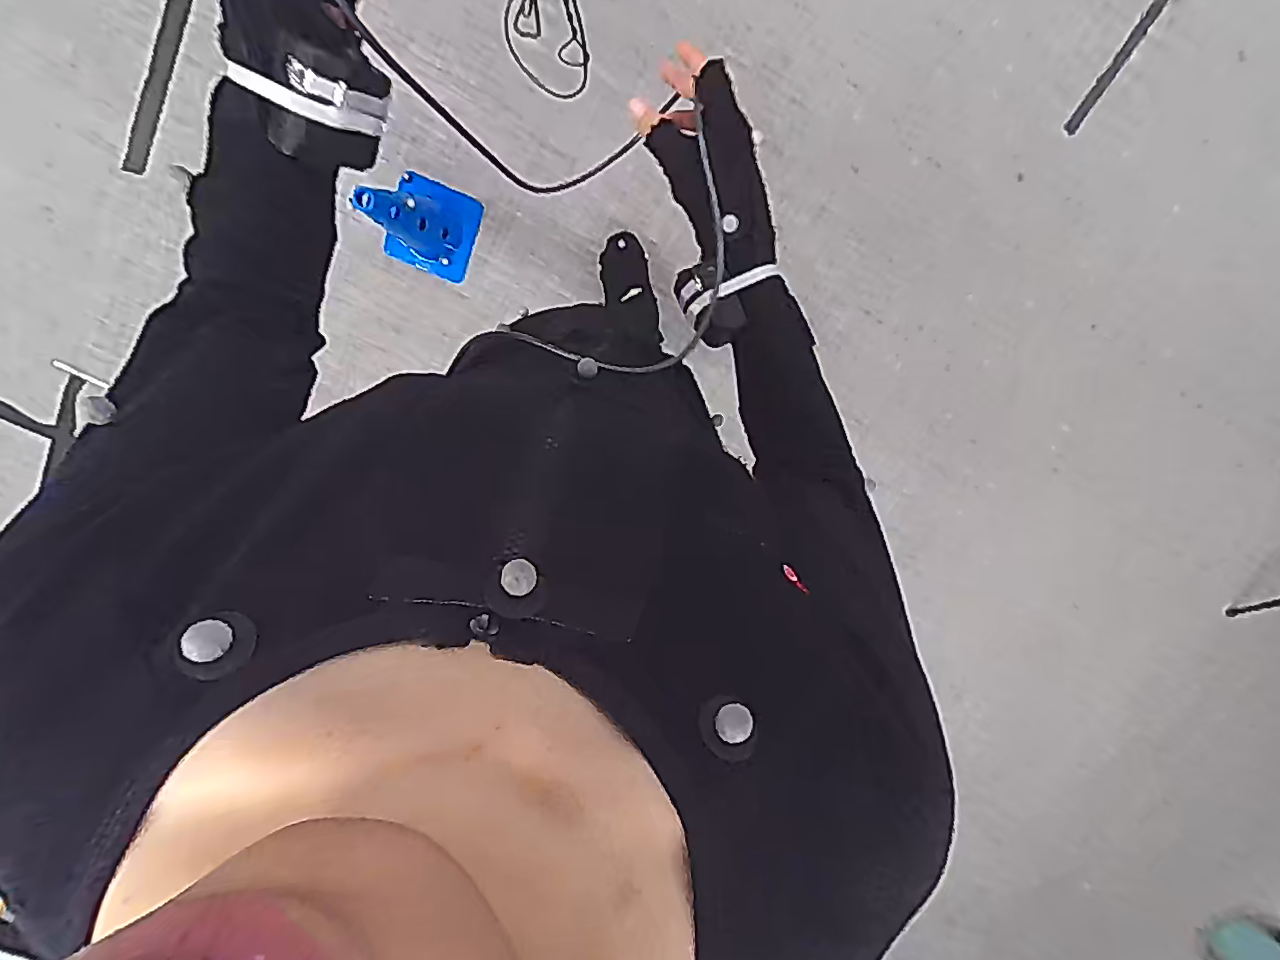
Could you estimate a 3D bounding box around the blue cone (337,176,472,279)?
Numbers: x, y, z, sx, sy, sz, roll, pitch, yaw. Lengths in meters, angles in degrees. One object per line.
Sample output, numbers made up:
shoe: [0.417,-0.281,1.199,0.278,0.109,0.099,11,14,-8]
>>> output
blue cone: [-0.504,-0.547,1.125,0.192,0.380,0.193,23,106,-7]
